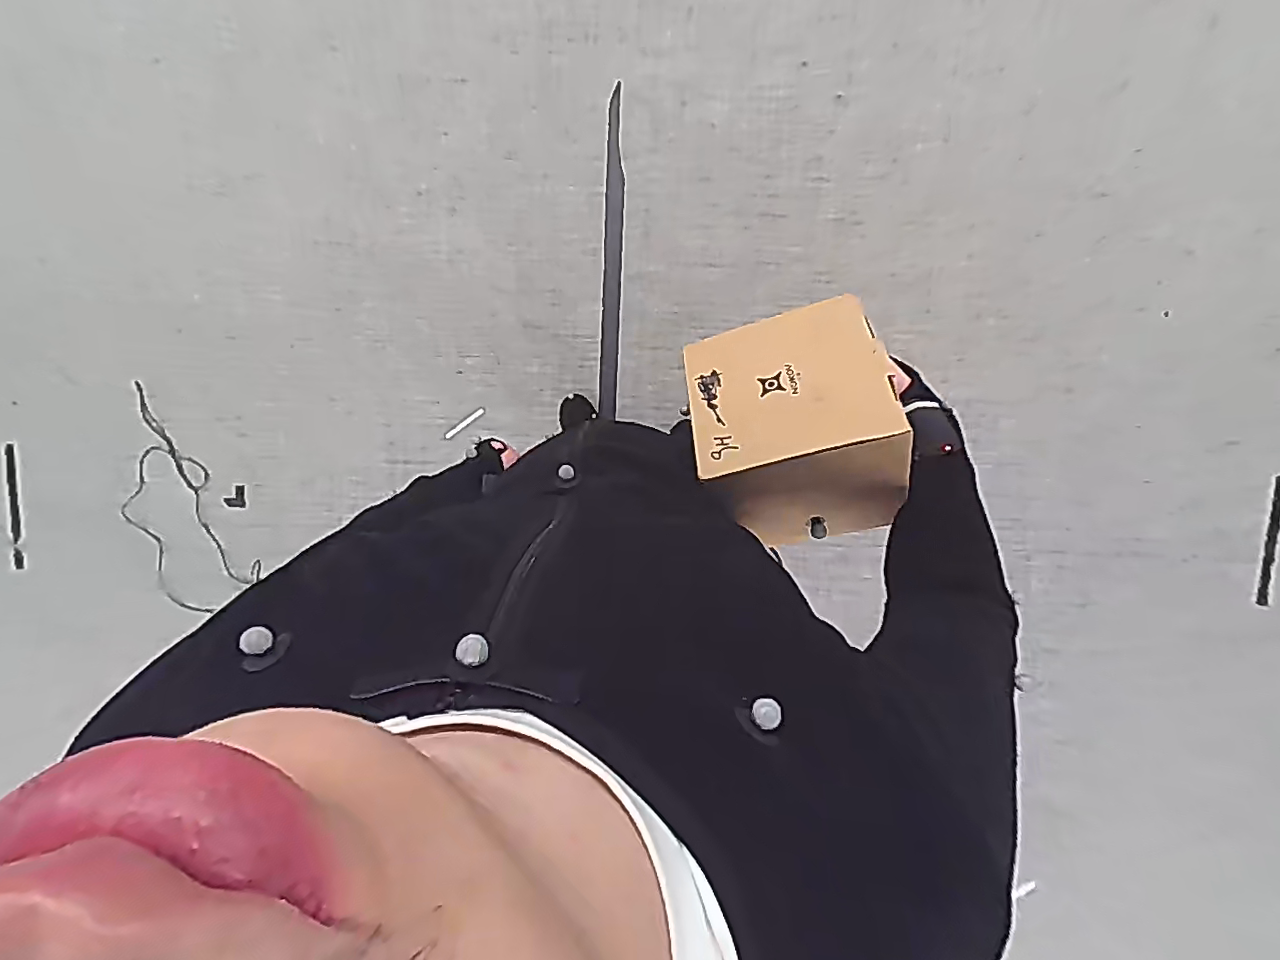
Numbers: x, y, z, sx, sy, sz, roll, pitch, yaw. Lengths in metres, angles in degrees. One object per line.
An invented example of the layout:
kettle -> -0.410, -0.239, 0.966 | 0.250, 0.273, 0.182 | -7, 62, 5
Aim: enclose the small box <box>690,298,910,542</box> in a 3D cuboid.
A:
small box -> 0.163, -0.051, 0.567 | 0.179, 0.176, 0.168 | -13, 55, 16
